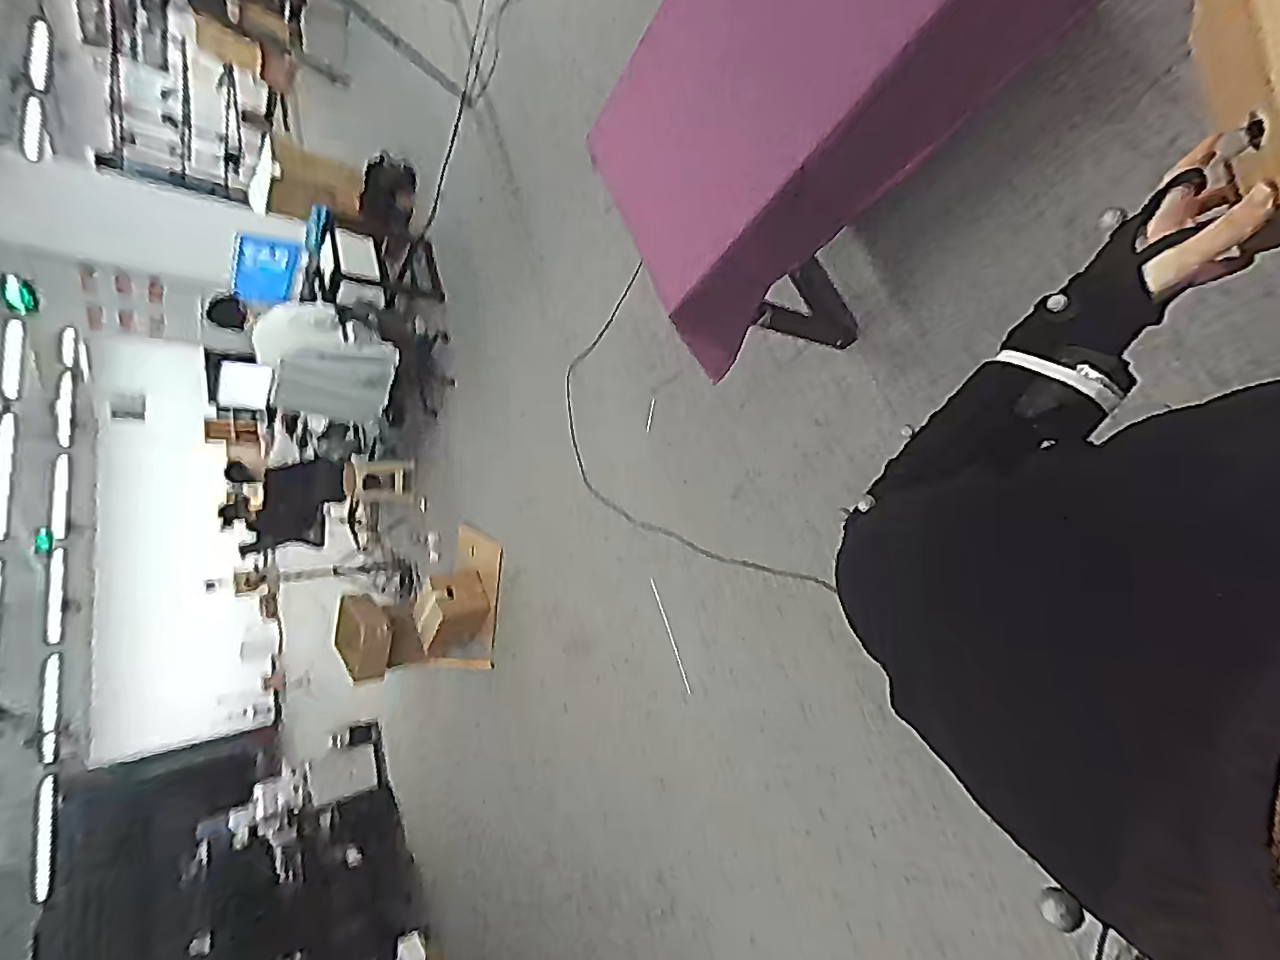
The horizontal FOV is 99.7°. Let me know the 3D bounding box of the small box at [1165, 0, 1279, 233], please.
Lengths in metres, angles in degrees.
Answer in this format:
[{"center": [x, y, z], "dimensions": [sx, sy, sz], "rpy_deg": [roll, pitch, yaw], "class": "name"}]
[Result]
[{"center": [0.431, -0.265, 0.307], "dimensions": [0.168, 0.176, 0.179], "rpy_deg": [-13, 85, 41], "class": "small box"}]
